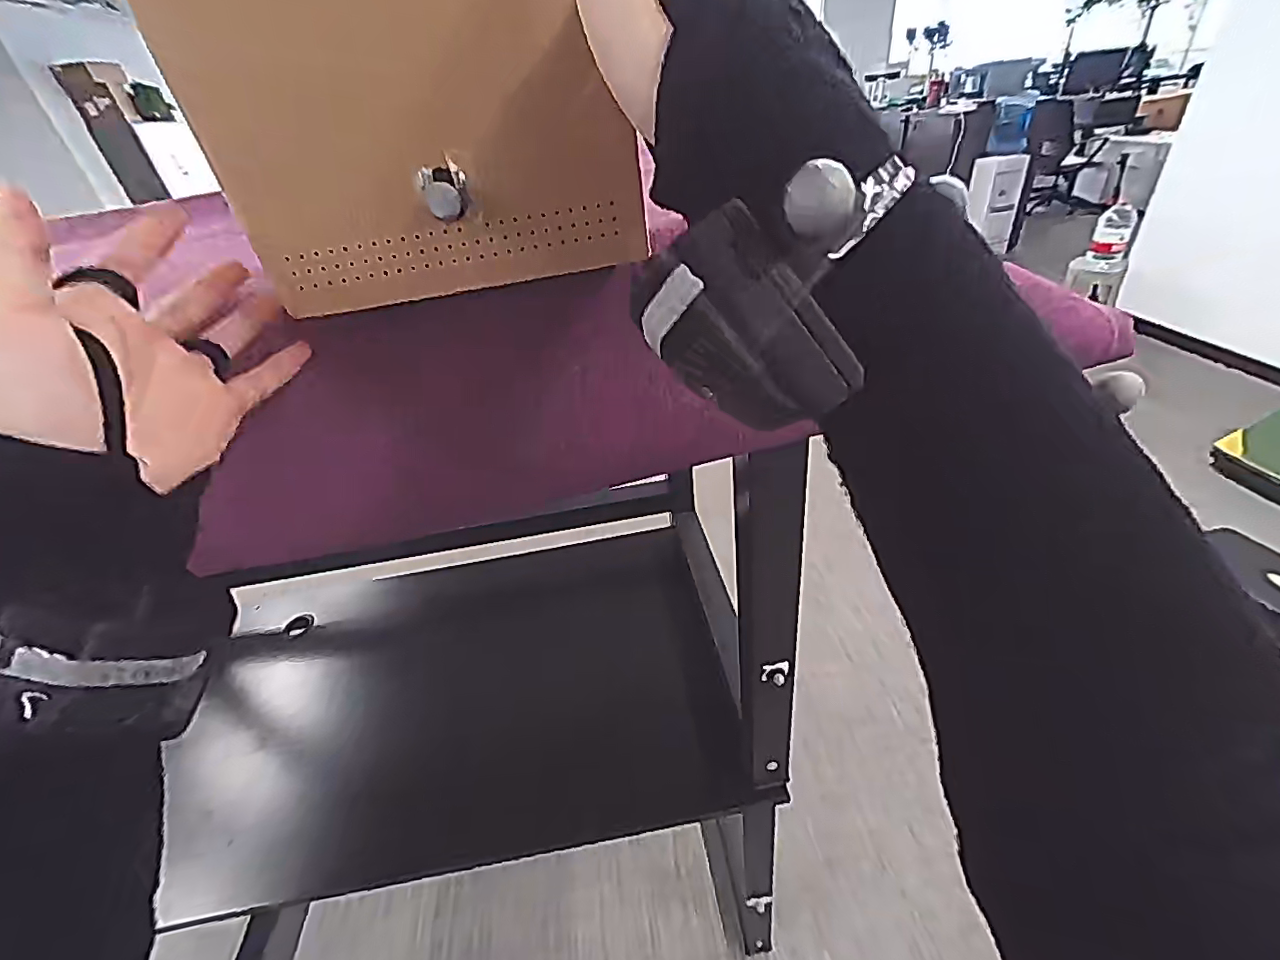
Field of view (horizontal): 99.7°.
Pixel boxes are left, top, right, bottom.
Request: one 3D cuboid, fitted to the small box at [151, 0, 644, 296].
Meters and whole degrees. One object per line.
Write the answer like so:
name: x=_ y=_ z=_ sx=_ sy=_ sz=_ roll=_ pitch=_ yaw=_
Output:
small box: x=-0.096 y=-0.208 z=0.274 sx=0.179 sy=0.176 sz=0.168 roll=-11 pitch=34 yaw=-3
